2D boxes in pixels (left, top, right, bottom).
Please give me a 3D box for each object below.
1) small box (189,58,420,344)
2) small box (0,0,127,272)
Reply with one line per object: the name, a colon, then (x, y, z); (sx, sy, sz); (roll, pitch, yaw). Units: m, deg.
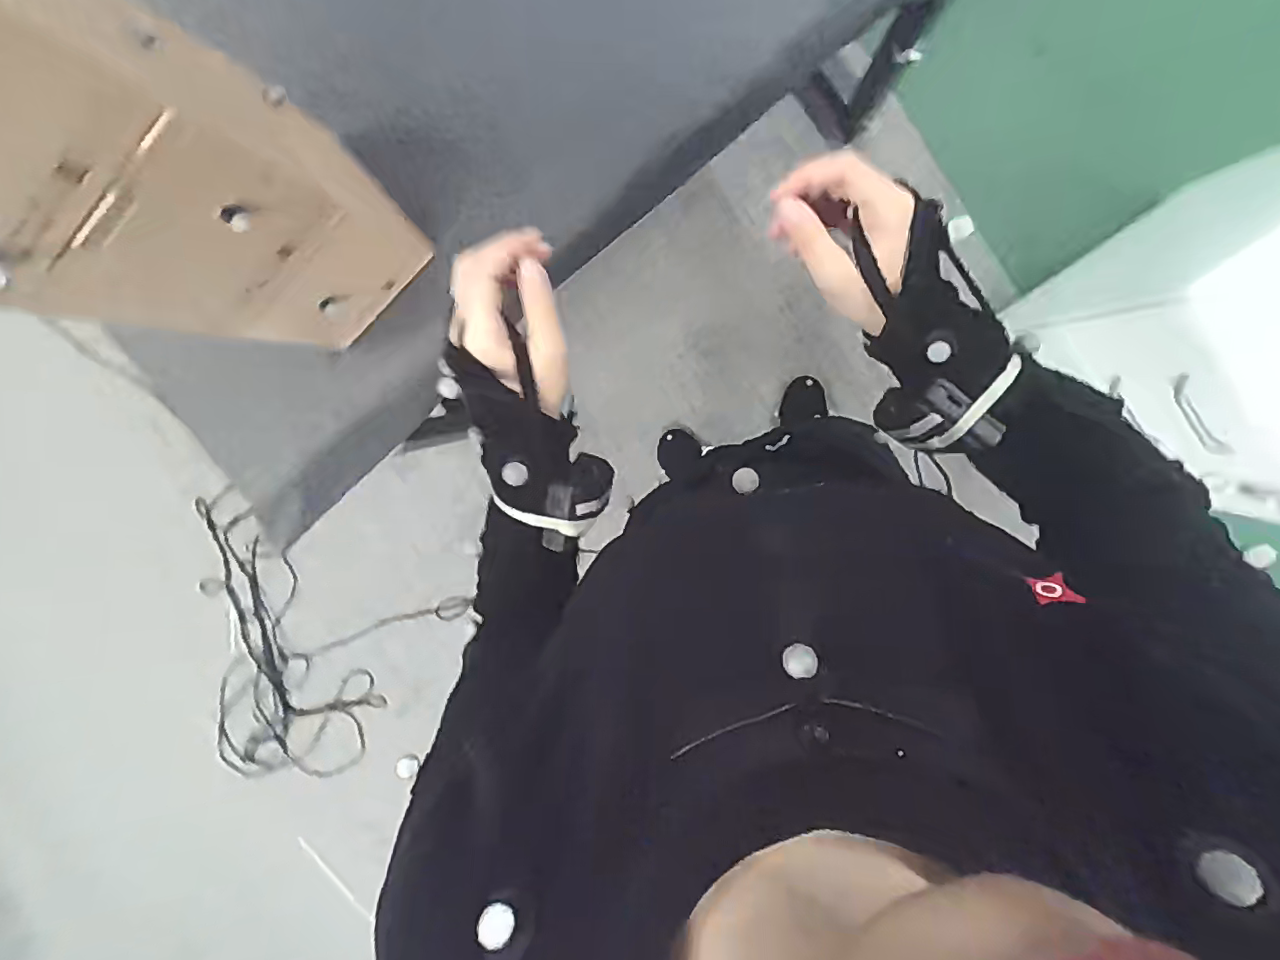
small box: (-0.366, -0.255, 0.552); (0.168, 0.176, 0.179); (-42, 93, 10)
small box: (-0.396, -0.203, 0.230); (0.168, 0.176, 0.179); (-44, 92, 9)
